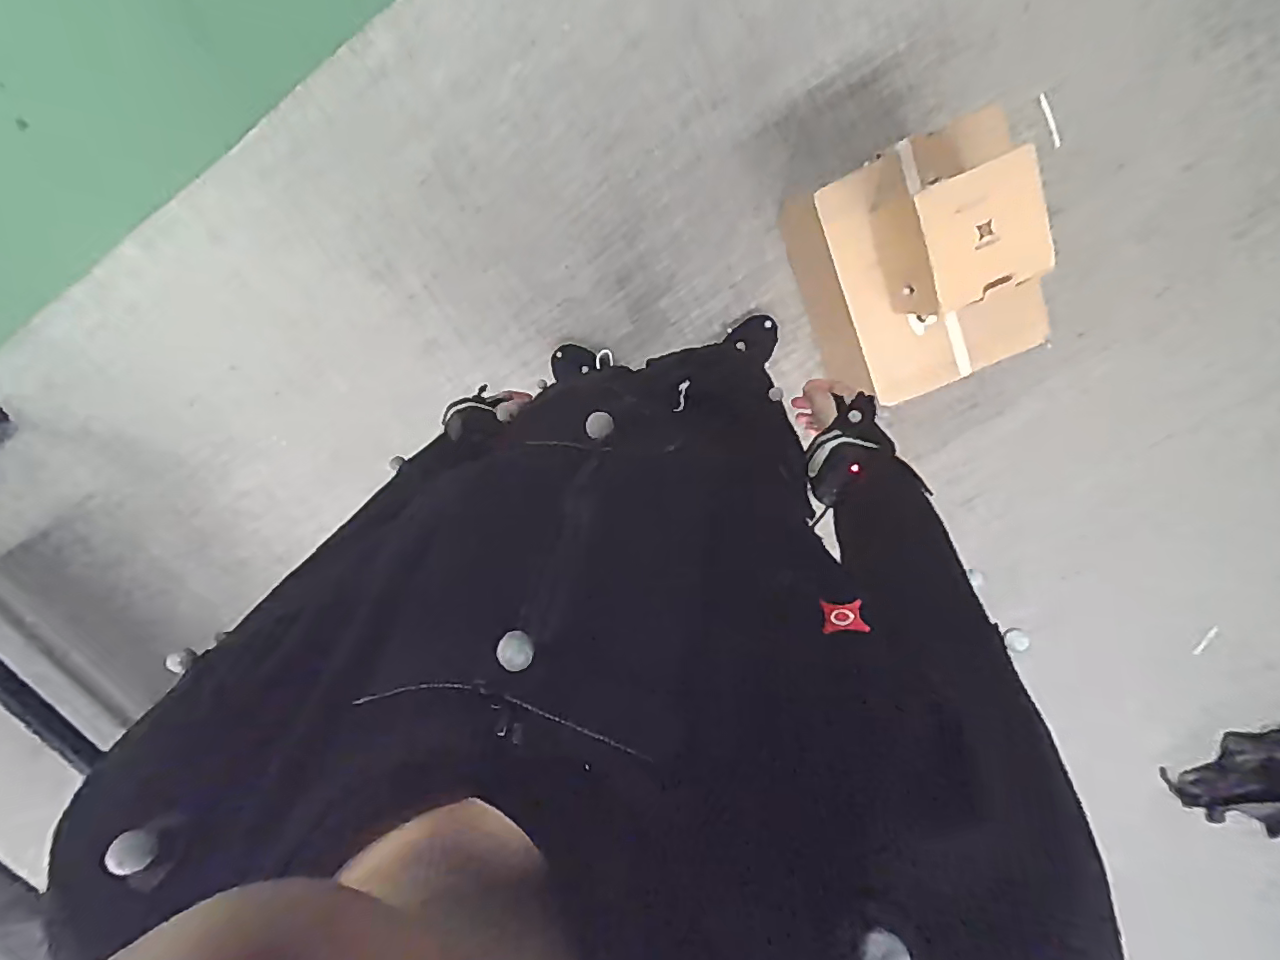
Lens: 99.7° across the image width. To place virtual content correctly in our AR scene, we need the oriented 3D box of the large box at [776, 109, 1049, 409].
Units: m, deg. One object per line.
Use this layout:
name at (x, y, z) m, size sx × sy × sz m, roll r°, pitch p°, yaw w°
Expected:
large box at (0.511, -0.409, 1.071) m, size 0.320 × 0.320 × 0.408 m, roll -23°, pitch 107°, yaw 10°

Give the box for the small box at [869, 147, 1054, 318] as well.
small box at (0.481, -0.366, 0.830) m, size 0.168 × 0.176 × 0.179 m, roll -23°, pitch 105°, yaw 7°
